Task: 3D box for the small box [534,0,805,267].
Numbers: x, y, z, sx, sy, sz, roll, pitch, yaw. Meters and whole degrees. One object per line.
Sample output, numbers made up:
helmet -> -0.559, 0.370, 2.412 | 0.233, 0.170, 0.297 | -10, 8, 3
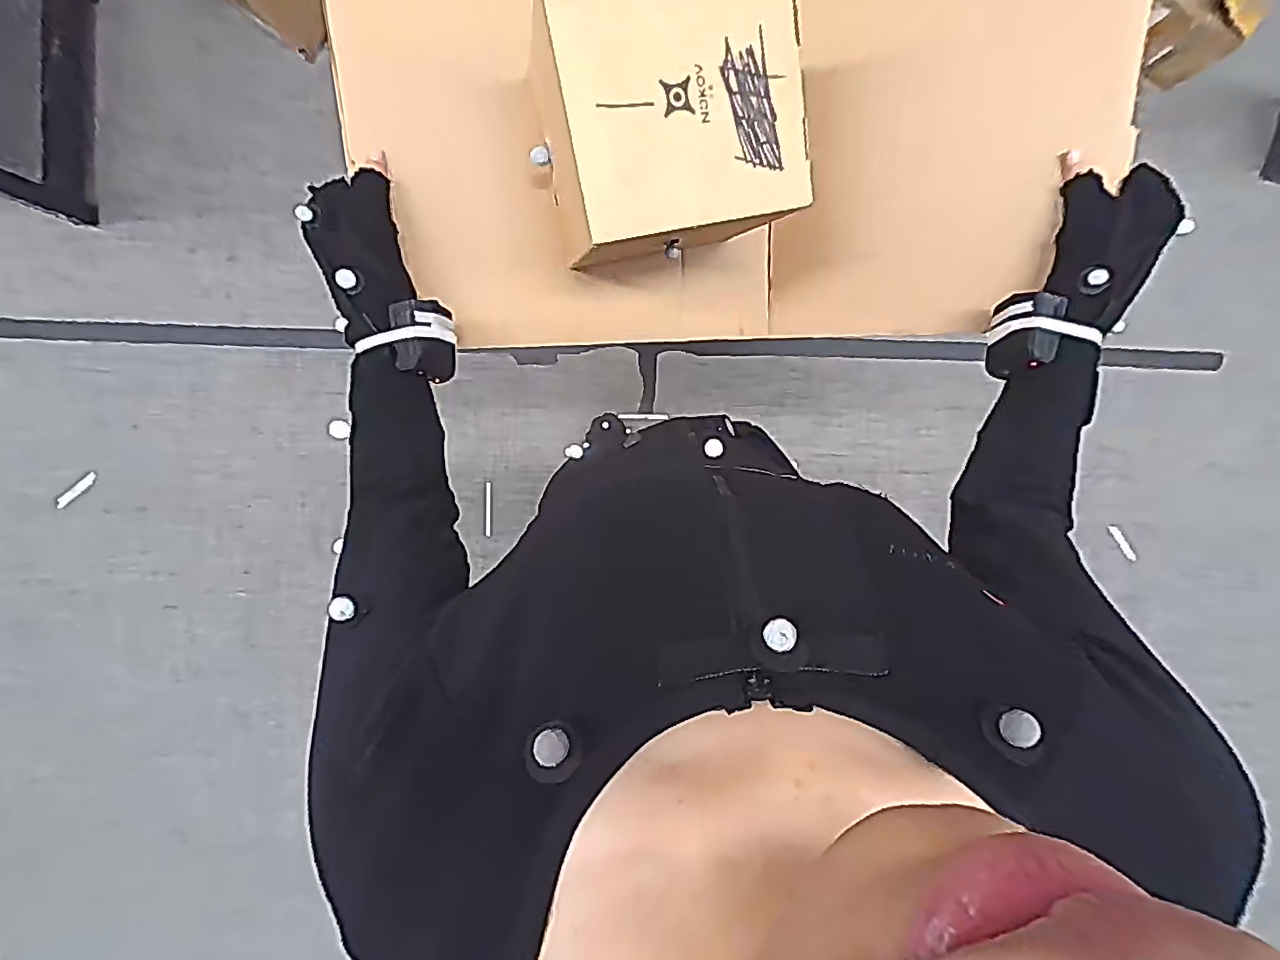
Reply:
small box -> 0.015, -0.287, 0.460 | 0.179, 0.176, 0.168 | -14, 108, -9
